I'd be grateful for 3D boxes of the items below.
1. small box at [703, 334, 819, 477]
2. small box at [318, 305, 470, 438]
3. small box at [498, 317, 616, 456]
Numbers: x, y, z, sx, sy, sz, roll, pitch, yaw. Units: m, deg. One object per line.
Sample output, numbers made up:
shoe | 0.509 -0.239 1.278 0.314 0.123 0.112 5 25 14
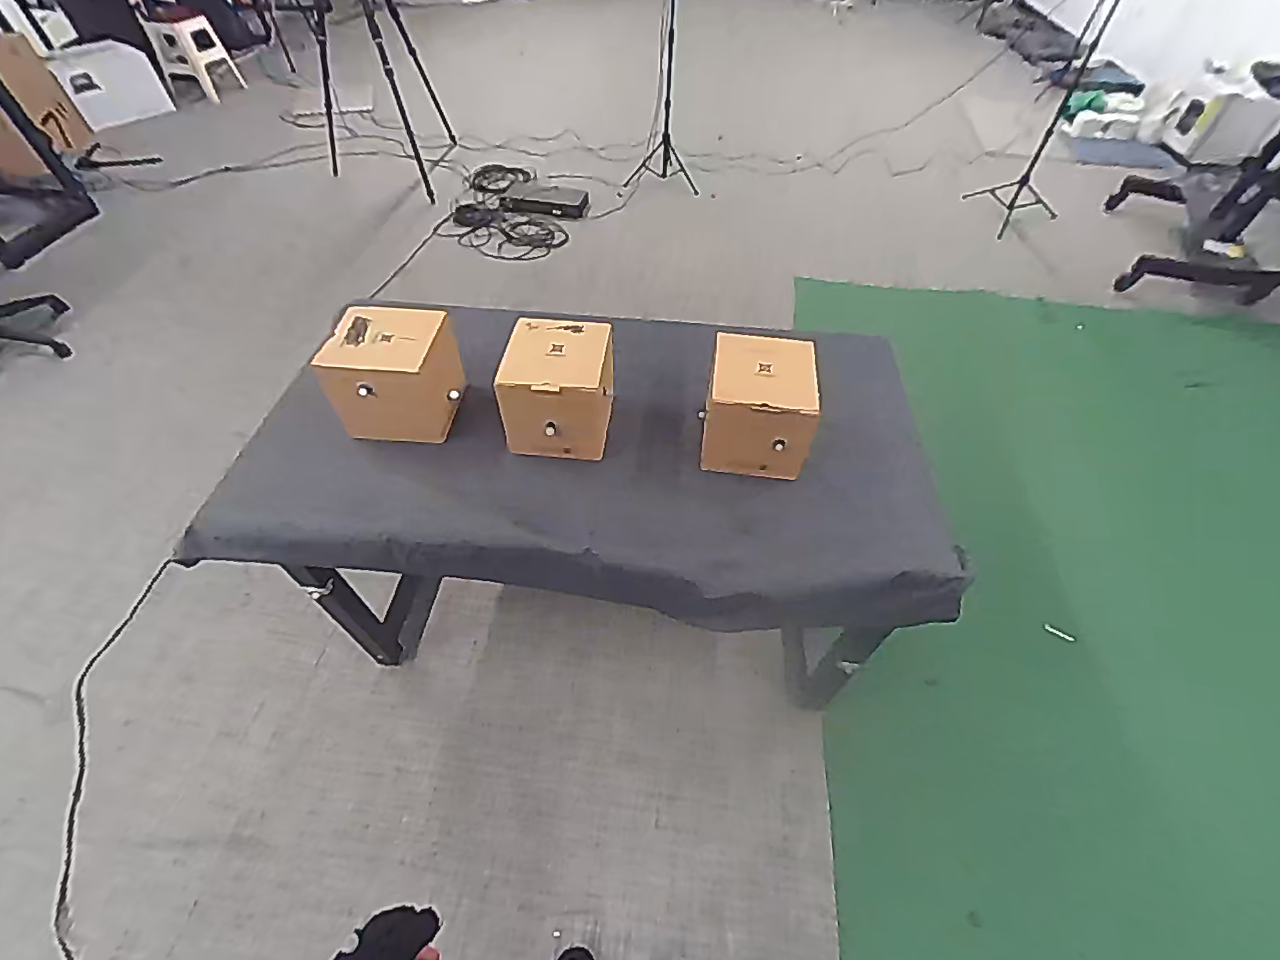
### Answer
small box | 0.202 -0.126 0.938 0.168 0.176 0.179 7 50 3
small box | -0.425 -0.192 0.971 0.179 0.176 0.168 4 52 1
small box | -0.134 -0.161 0.956 0.168 0.176 0.179 5 52 3
